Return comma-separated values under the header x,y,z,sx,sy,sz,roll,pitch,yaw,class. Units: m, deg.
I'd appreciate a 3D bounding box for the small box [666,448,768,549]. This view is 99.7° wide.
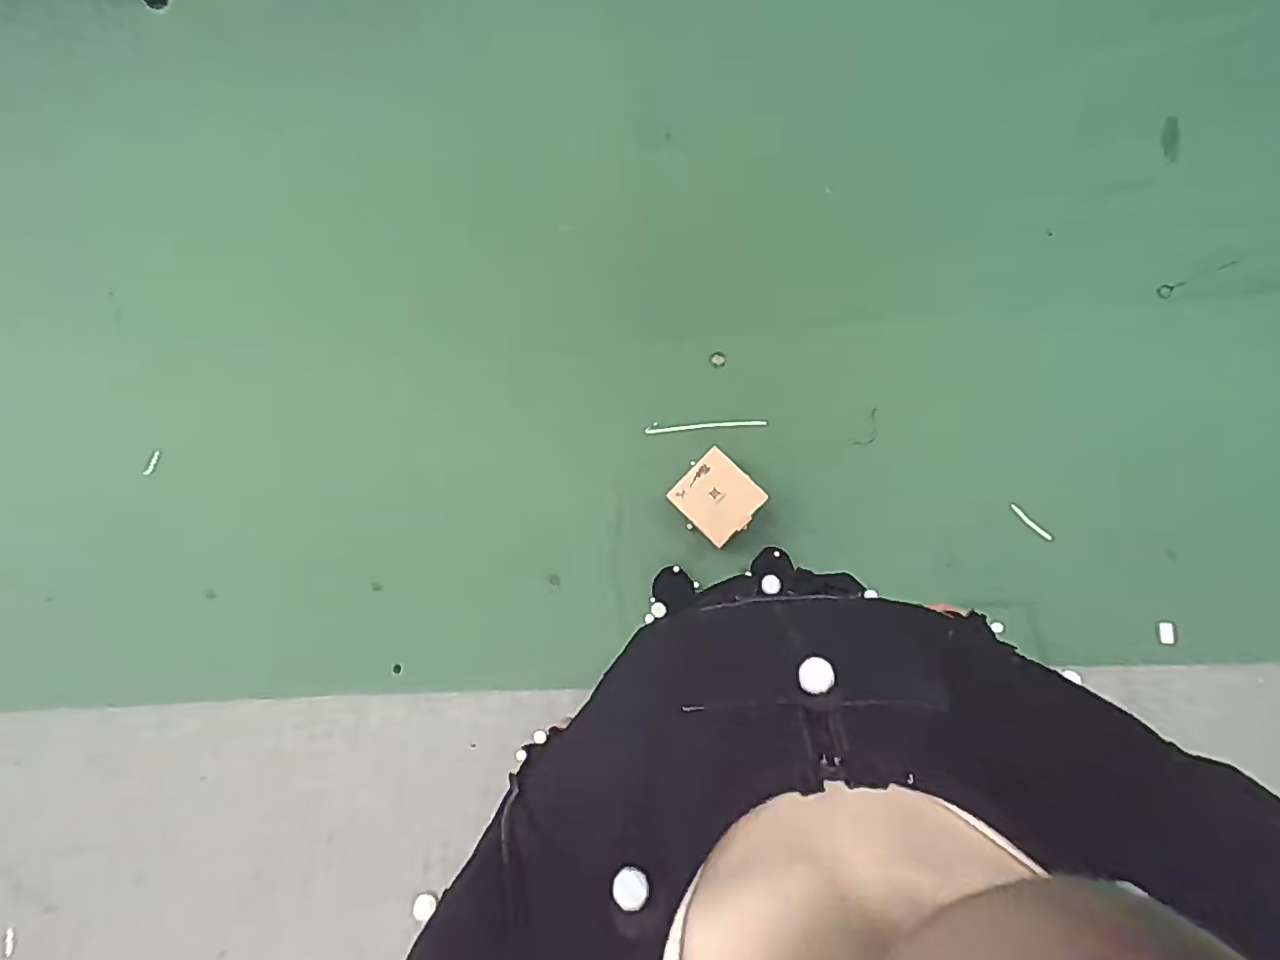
x,y,z,sx,sy,sz,roll,pitch,yaw,class
0.183,0.046,1.308,0.179,0.176,0.168,45,90,8,small box
